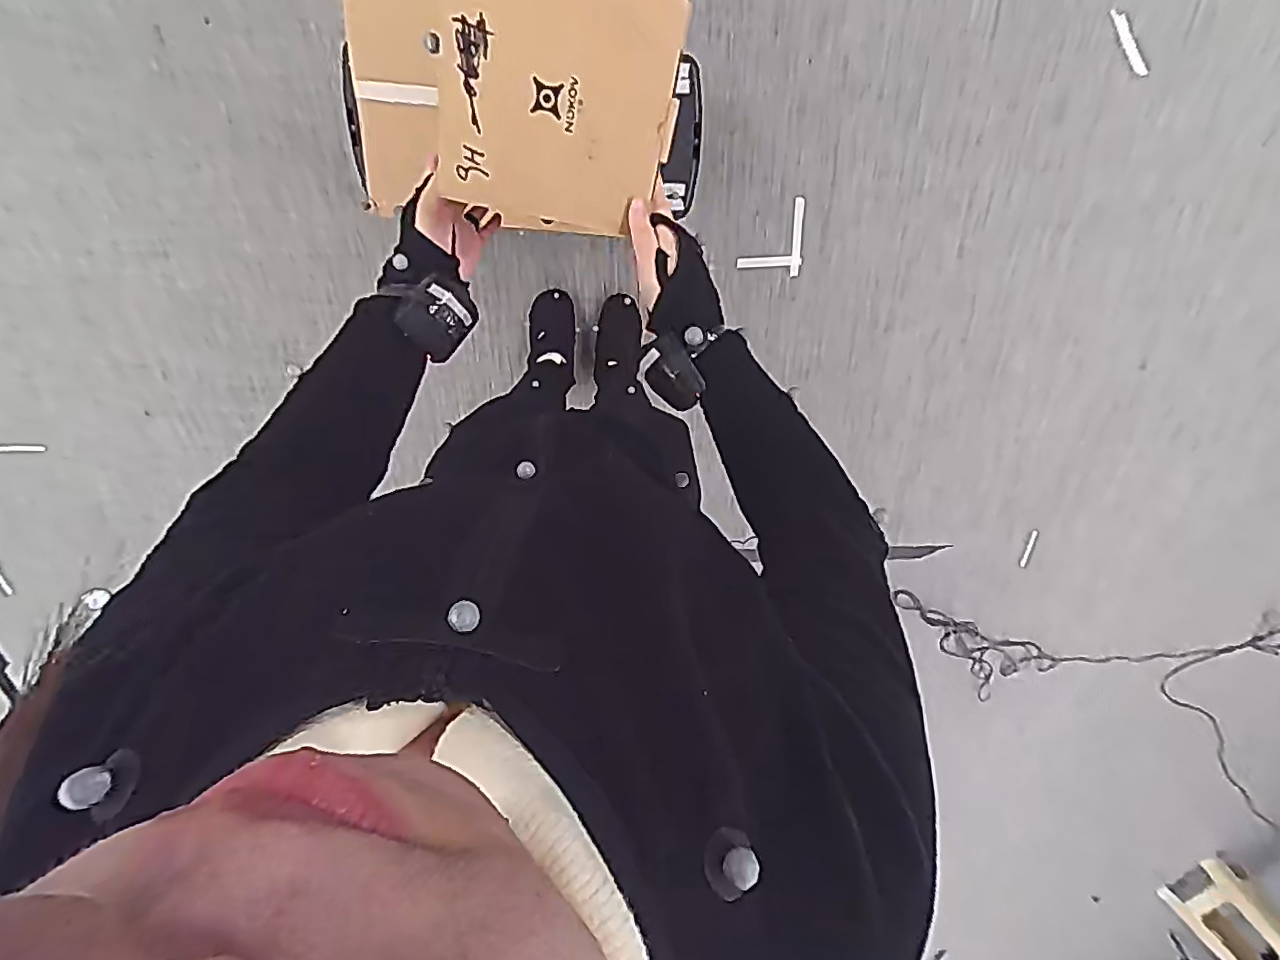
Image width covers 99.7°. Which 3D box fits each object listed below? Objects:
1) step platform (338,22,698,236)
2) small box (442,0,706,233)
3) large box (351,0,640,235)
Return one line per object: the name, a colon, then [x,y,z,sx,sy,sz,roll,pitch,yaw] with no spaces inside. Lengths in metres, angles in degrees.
step platform: [-0.226,-0.687,1.097,0.684,0.204,0.286,5,115,-5]
small box: [-0.064,-0.328,0.463,0.179,0.176,0.168,6,121,-13]
large box: [-0.186,-0.586,0.883,0.408,0.320,0.320,3,115,-4]
